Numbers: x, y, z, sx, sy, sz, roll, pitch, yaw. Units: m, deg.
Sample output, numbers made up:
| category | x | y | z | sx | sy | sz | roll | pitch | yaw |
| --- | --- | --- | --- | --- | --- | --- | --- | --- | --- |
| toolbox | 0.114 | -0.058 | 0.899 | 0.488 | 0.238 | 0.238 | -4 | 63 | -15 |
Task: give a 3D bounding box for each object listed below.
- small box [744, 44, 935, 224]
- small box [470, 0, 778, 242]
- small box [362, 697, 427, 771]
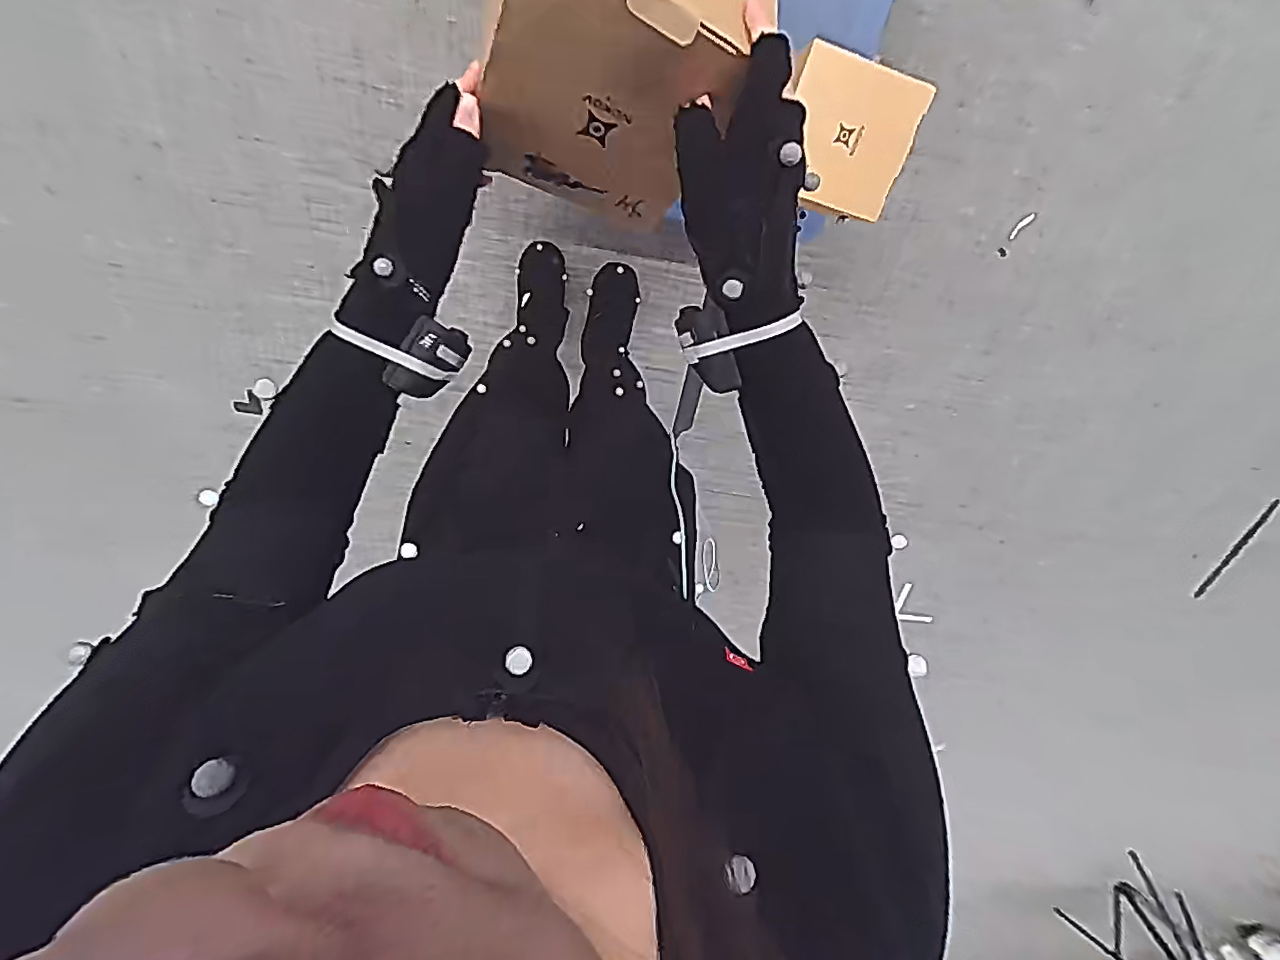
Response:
| category | x | y | z | sx | sy | sz | roll | pitch | yaw |
| --- | --- | --- | --- | --- | --- | --- | --- | --- | --- |
| small box | 0.268 | -0.484 | 0.780 | 0.179 | 0.176 | 0.168 | 13 | 118 | -10 |
| small box | -0.018 | -0.330 | 0.410 | 0.168 | 0.176 | 0.179 | 13 | 161 | -26 |
| small box | -0.879 | 0.916 | 1.955 | 0.168 | 0.176 | 0.179 | 7 | 119 | -5 |
